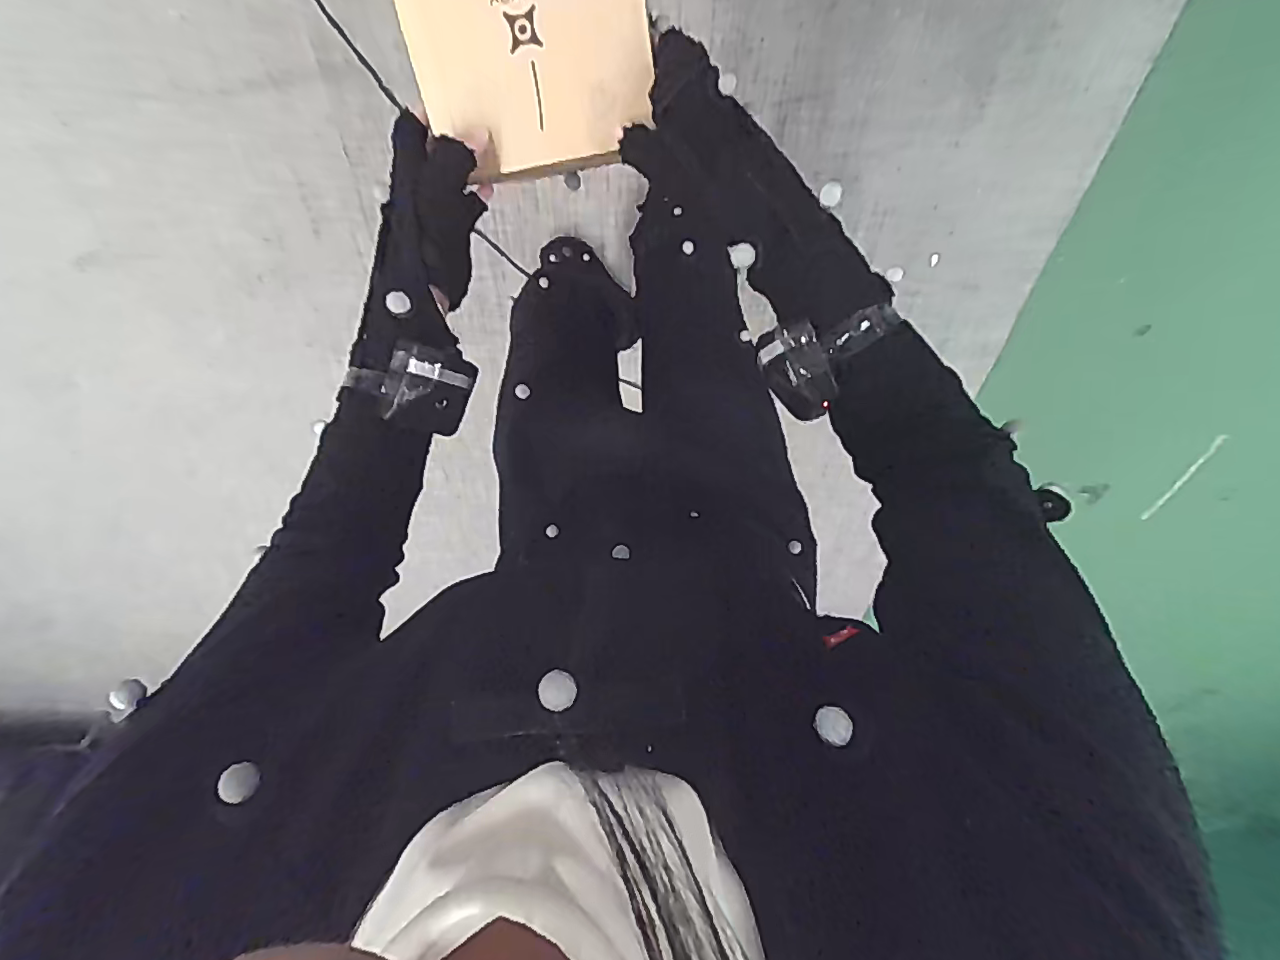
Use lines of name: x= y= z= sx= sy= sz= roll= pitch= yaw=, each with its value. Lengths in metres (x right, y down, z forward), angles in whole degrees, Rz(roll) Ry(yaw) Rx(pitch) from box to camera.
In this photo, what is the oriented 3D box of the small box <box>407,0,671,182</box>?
small box: x=-0.069 y=-0.349 z=0.429 sx=0.168 sy=0.176 sz=0.179 roll=-7 pitch=118 yaw=7
